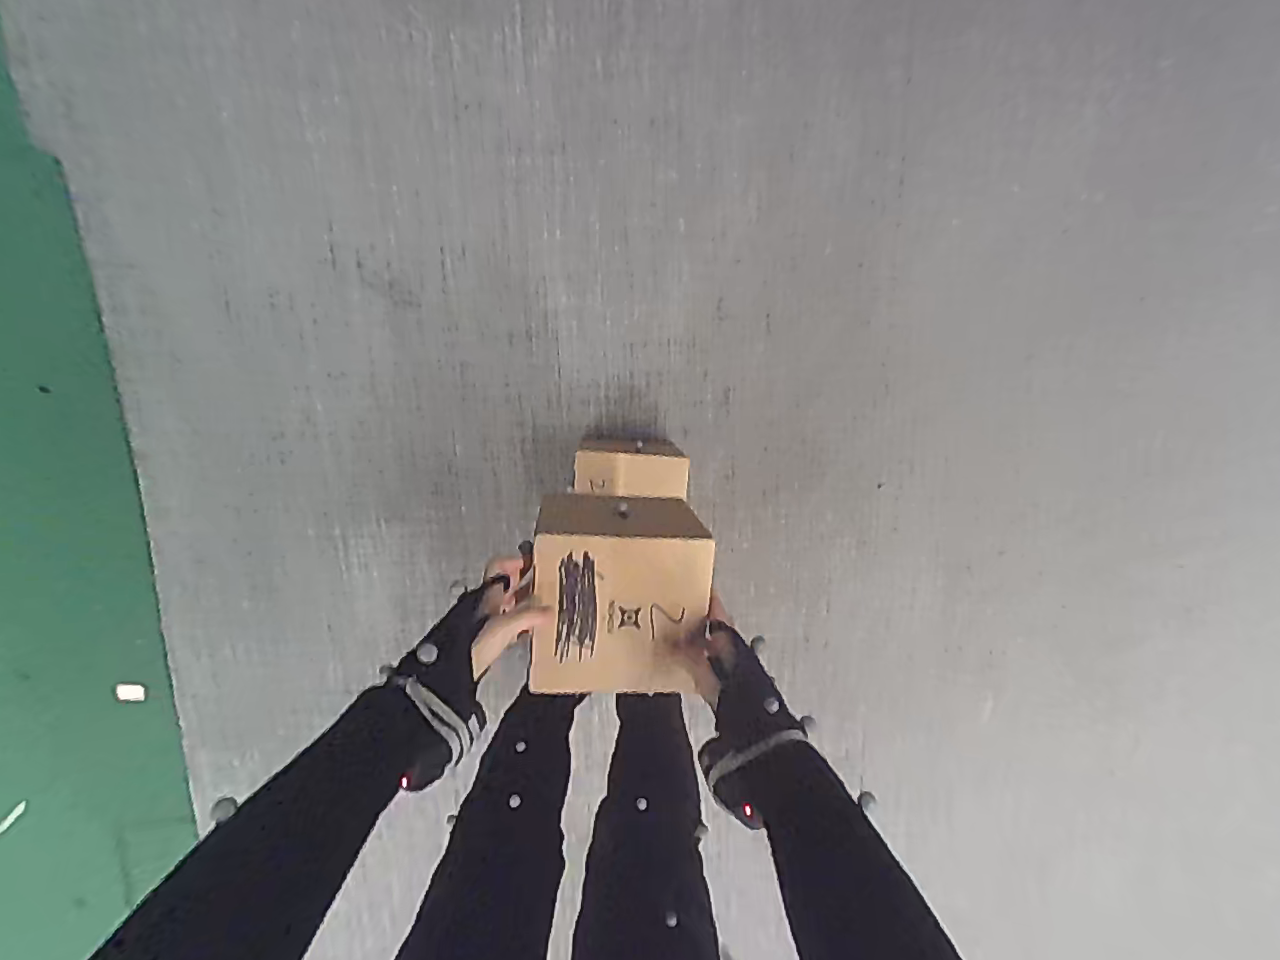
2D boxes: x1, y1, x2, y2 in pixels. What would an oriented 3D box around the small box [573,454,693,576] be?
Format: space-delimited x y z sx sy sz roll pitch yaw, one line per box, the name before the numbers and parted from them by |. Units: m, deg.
small box | -0.017 0.051 0.902 0.179 0.176 0.168 4 100 -4
